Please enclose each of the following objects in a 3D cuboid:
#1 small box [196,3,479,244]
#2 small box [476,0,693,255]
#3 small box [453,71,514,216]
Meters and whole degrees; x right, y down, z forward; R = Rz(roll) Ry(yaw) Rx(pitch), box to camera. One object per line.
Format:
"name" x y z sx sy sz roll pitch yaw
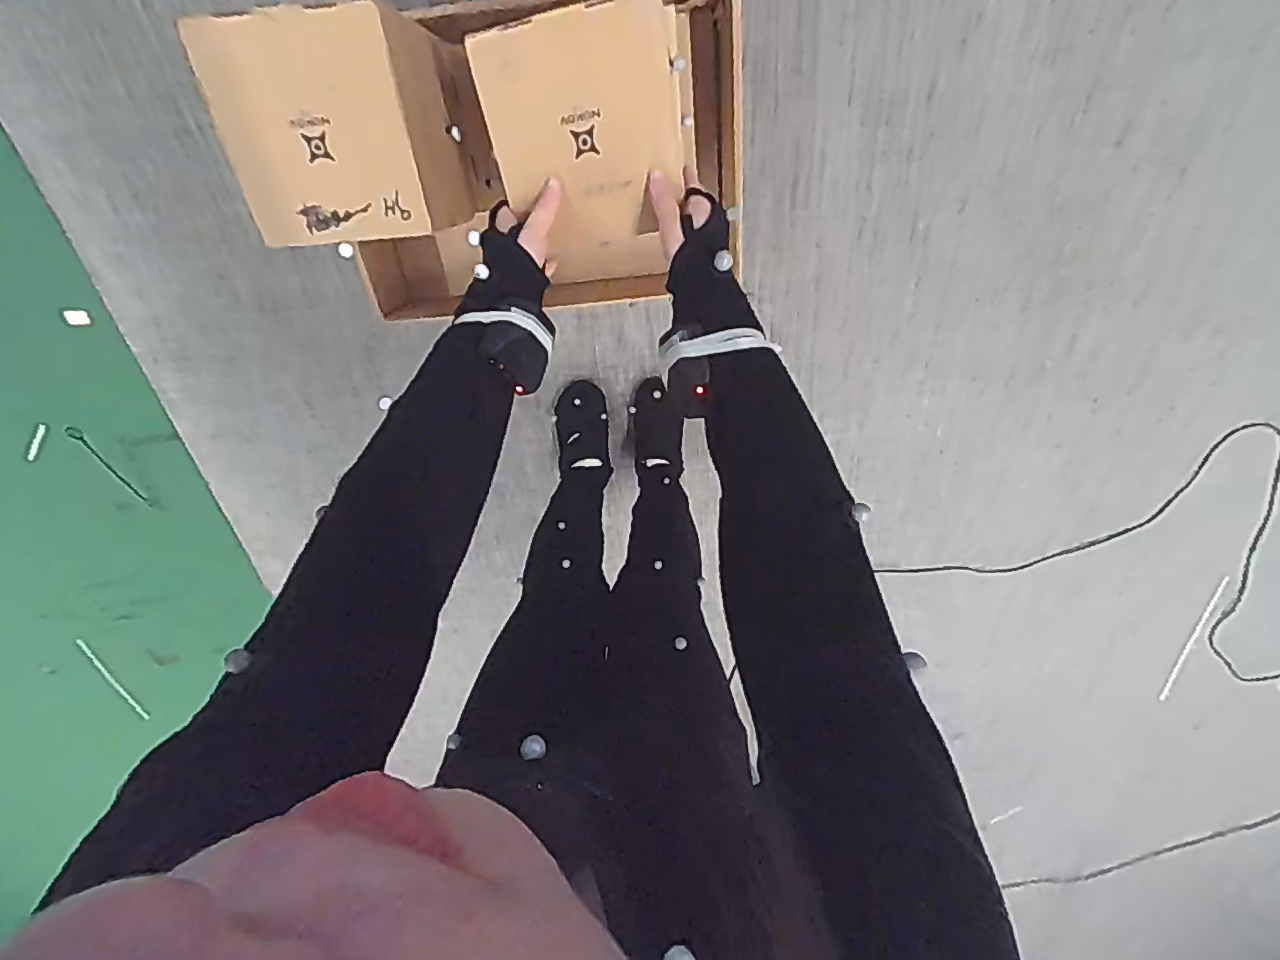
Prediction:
"small box" -0.278 -0.345 0.549 0.168 0.176 0.179 -2 120 2
"small box" -0.040 -0.342 0.546 0.168 0.176 0.179 -7 121 8
"small box" -0.289 -0.511 0.833 0.168 0.176 0.179 -2 121 0
